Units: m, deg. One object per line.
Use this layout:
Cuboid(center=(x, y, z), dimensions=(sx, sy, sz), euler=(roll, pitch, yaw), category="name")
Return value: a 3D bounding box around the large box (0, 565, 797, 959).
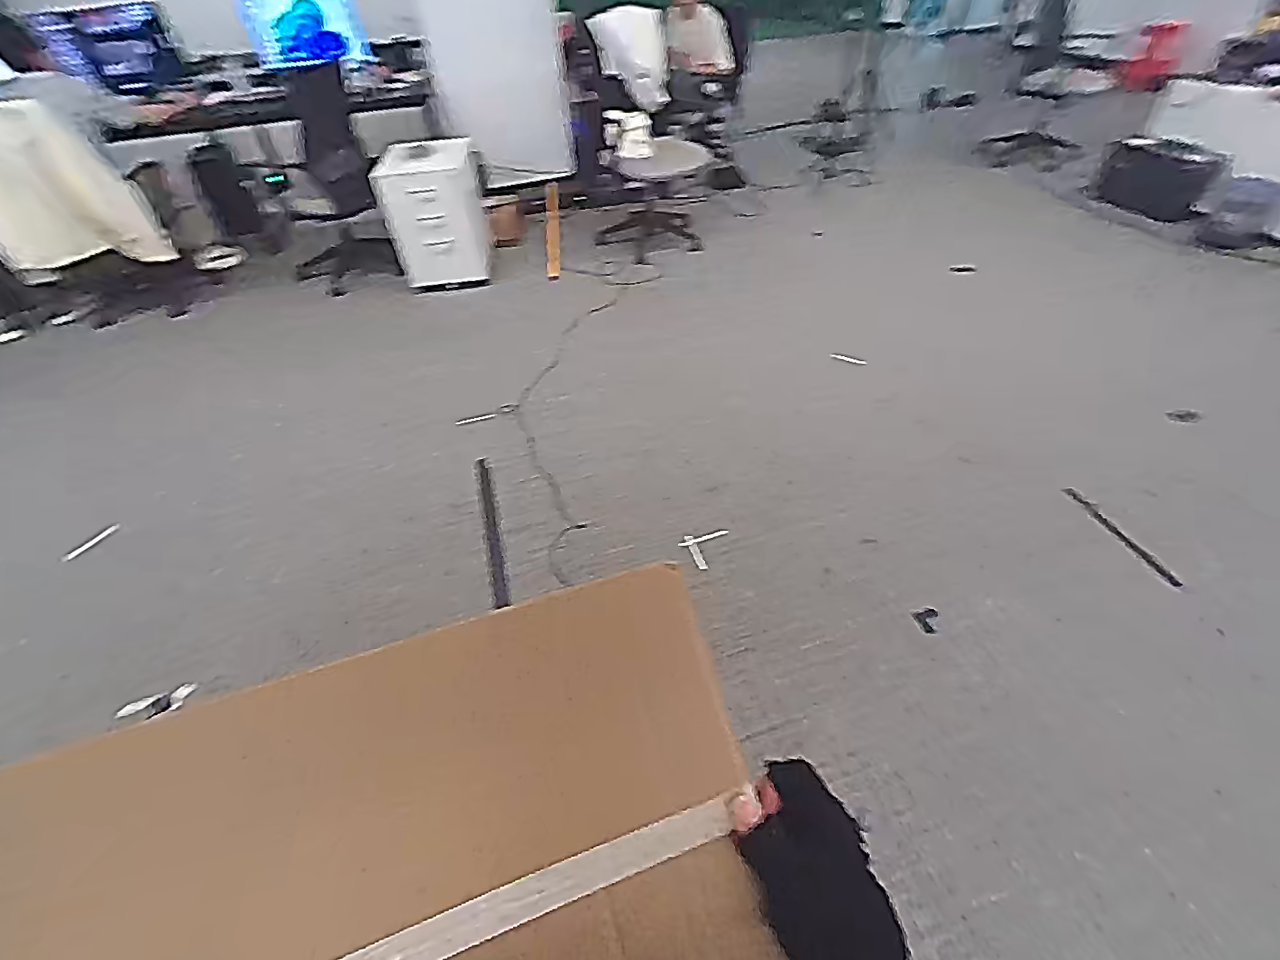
Cuboid(center=(-0.145, 0.291, 0.443), dimensions=(0.408, 0.320, 0.320), euler=(-16, 80, -13), category="large box")
